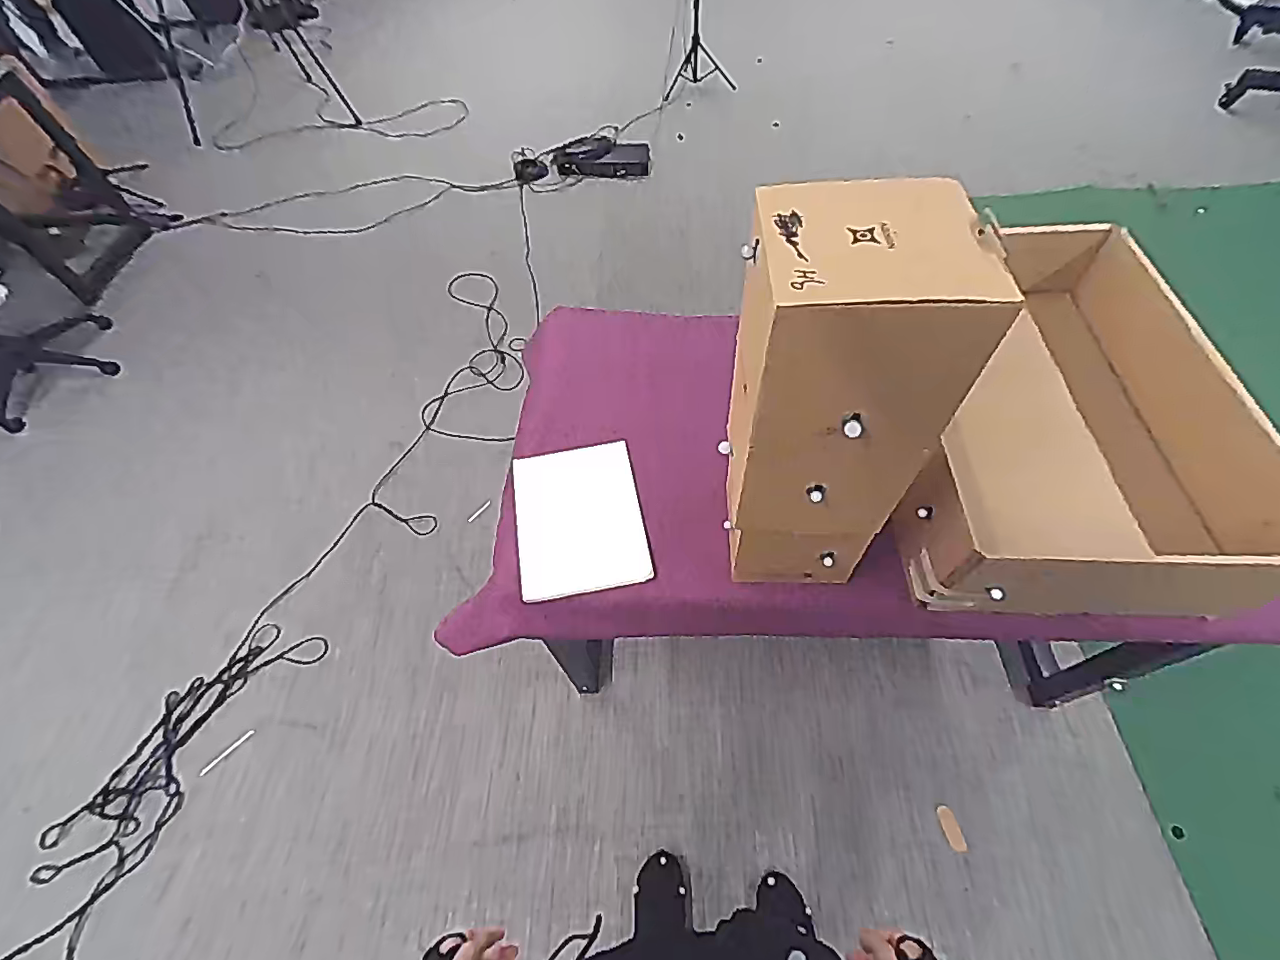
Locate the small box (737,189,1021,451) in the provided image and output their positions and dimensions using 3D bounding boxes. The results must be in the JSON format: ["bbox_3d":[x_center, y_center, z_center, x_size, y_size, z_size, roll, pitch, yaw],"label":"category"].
[{"bbox_3d":[0.189,-0.139,0.493,0.179,0.176,0.168,1,54,4],"label":"small box"}]

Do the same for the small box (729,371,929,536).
[{"bbox_3d":[0.200,-0.045,0.629,0.179,0.176,0.168,0,55,6],"label":"small box"}]
